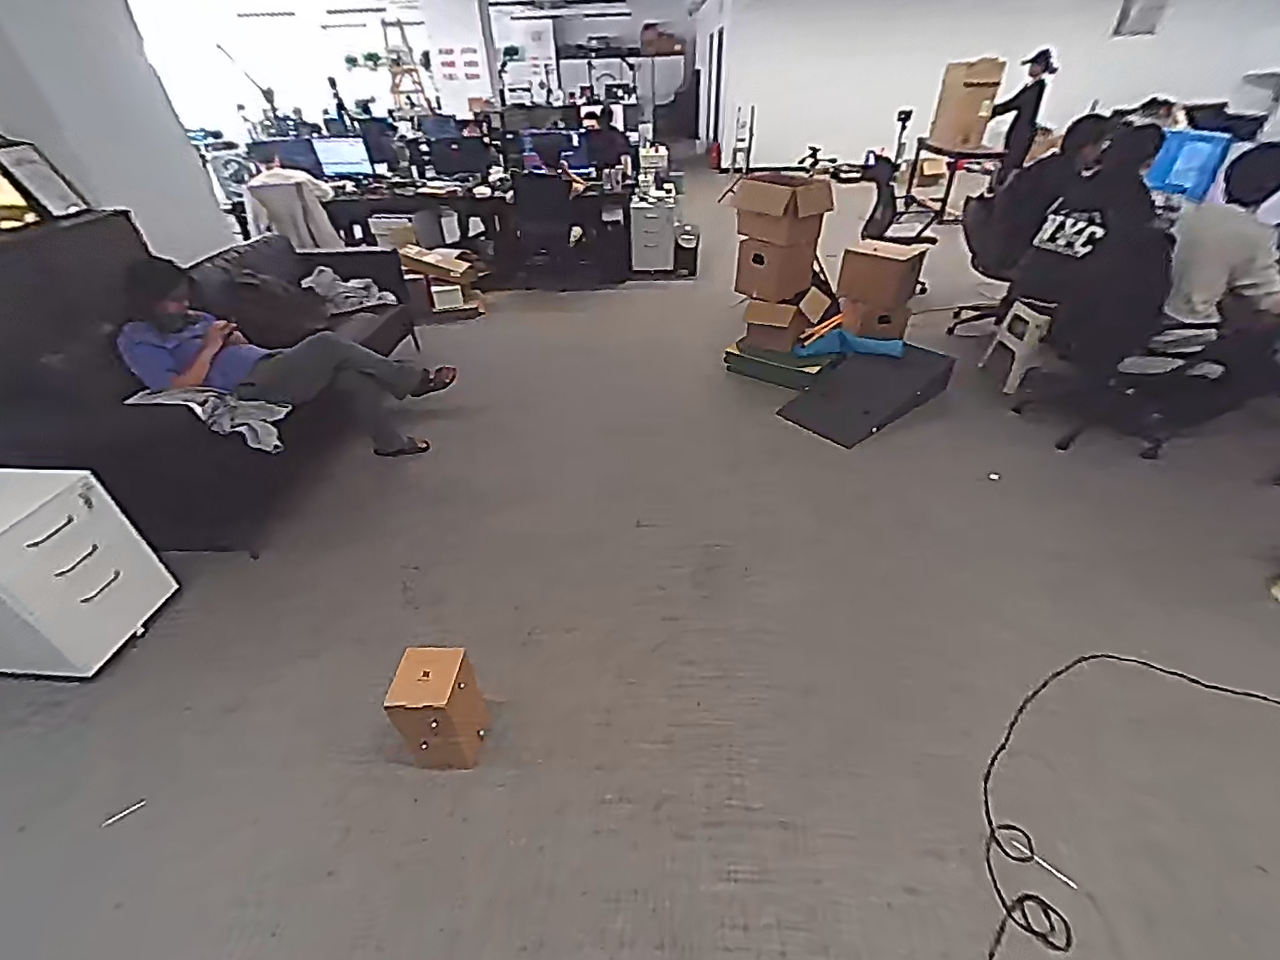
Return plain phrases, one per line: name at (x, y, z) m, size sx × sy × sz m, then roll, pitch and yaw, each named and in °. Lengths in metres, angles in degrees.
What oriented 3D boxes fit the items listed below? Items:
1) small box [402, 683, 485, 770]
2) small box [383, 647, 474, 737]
small box at (-0.563, 0.714, 1.578) m, size 0.168 × 0.176 × 0.179 m, roll 0°, pitch 36°, yaw 4°
small box at (-0.569, 0.583, 1.483) m, size 0.168 × 0.176 × 0.179 m, roll 0°, pitch 35°, yaw 1°
